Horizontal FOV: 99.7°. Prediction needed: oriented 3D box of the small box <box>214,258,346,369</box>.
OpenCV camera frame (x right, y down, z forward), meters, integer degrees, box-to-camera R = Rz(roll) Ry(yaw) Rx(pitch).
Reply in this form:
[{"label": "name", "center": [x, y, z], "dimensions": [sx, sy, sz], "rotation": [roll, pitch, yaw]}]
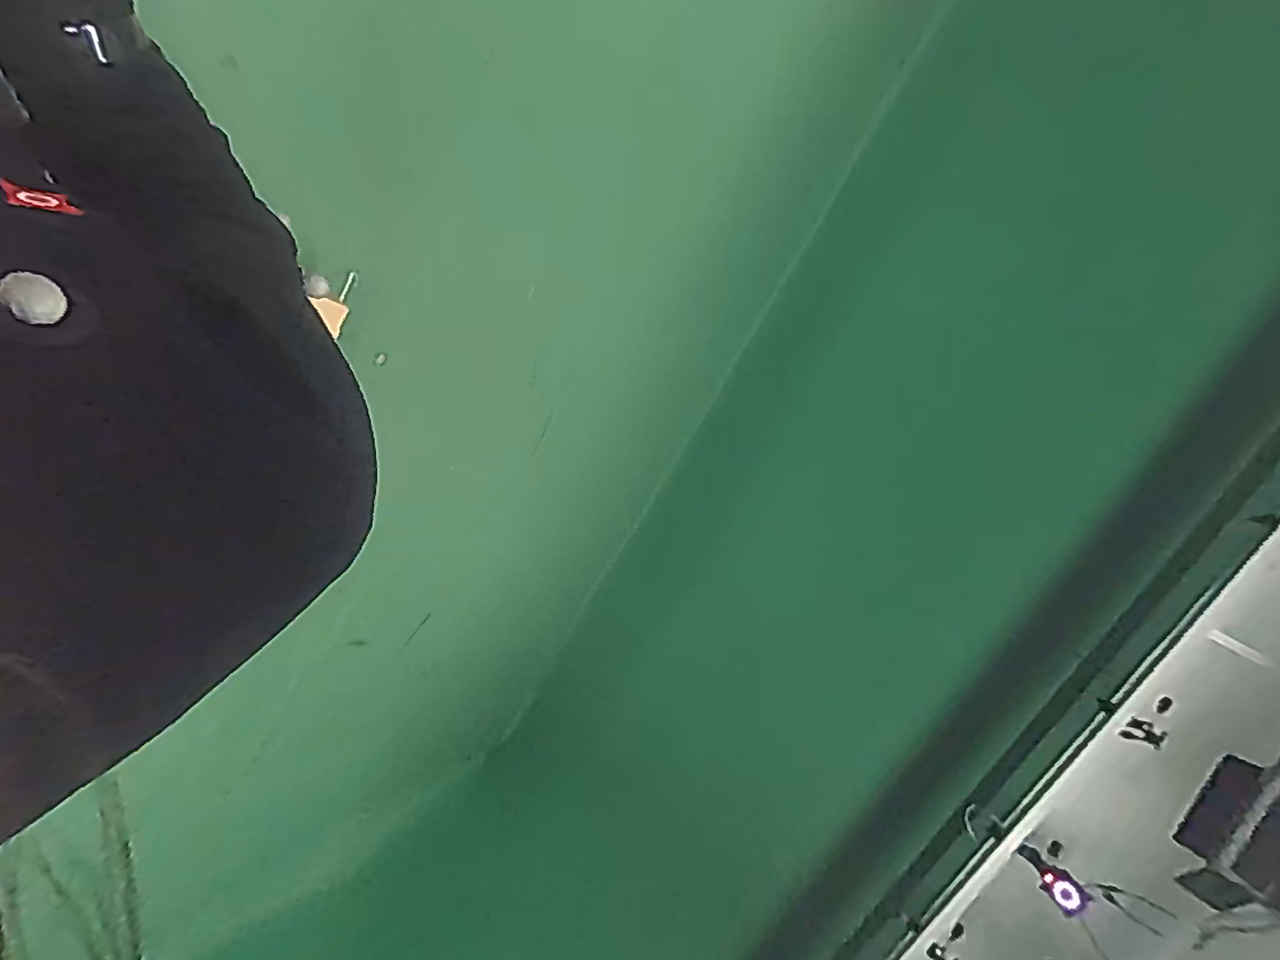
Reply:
[{"label": "small box", "center": [-0.837, -0.388, 1.259], "dimensions": [0.168, 0.176, 0.179], "rotation": [-60, 154, 9]}]
